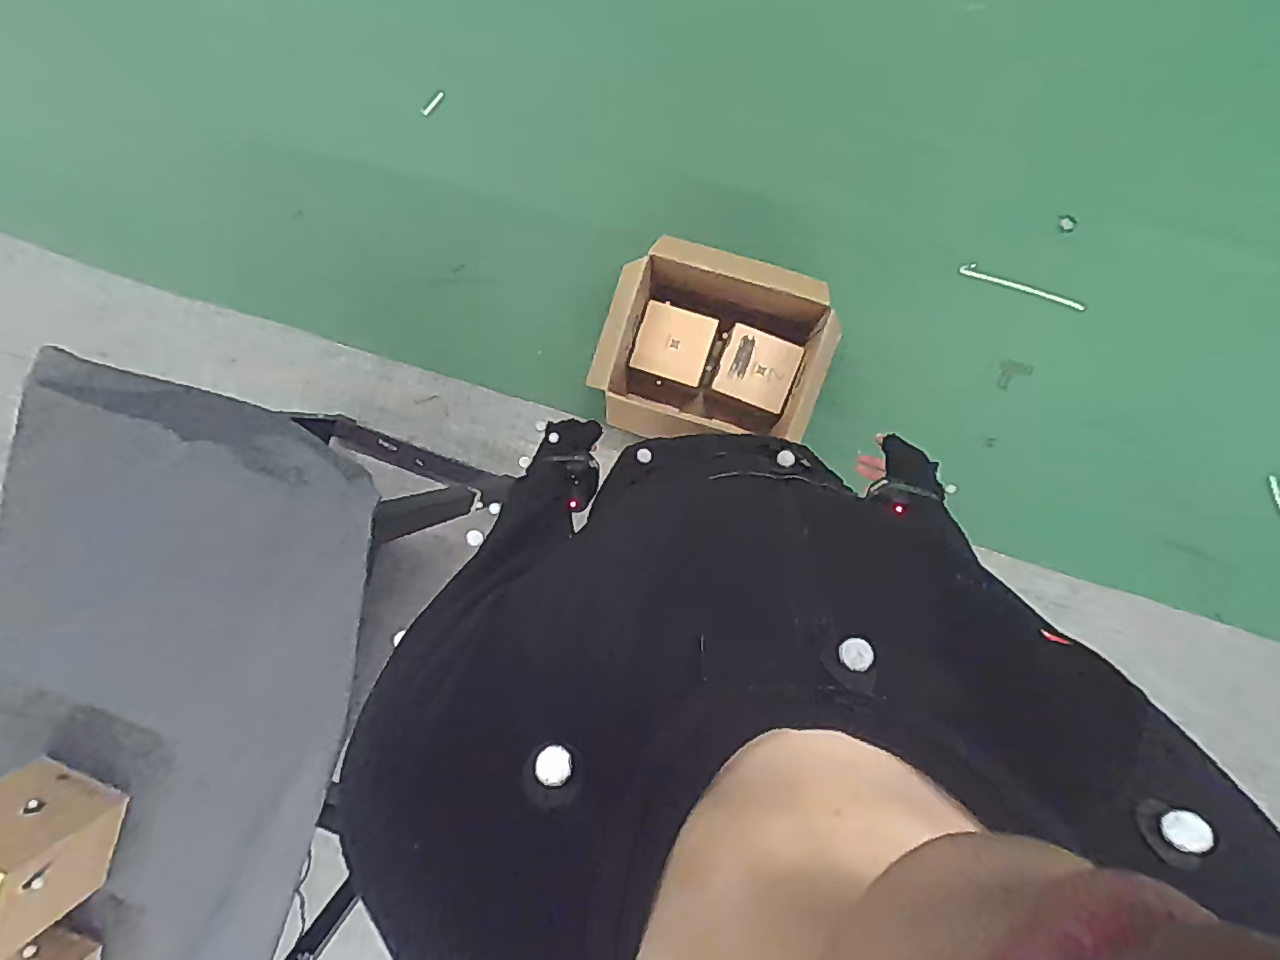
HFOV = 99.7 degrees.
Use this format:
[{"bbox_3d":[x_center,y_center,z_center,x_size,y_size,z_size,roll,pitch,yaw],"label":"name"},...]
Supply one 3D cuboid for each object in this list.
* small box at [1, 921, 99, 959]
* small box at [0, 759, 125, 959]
[{"bbox_3d":[-1.010,0.842,0.843,0.168,0.176,0.179,16,95,4],"label":"small box"},{"bbox_3d":[-0.941,0.565,0.813,0.168,0.176,0.179,22,96,4],"label":"small box"}]
